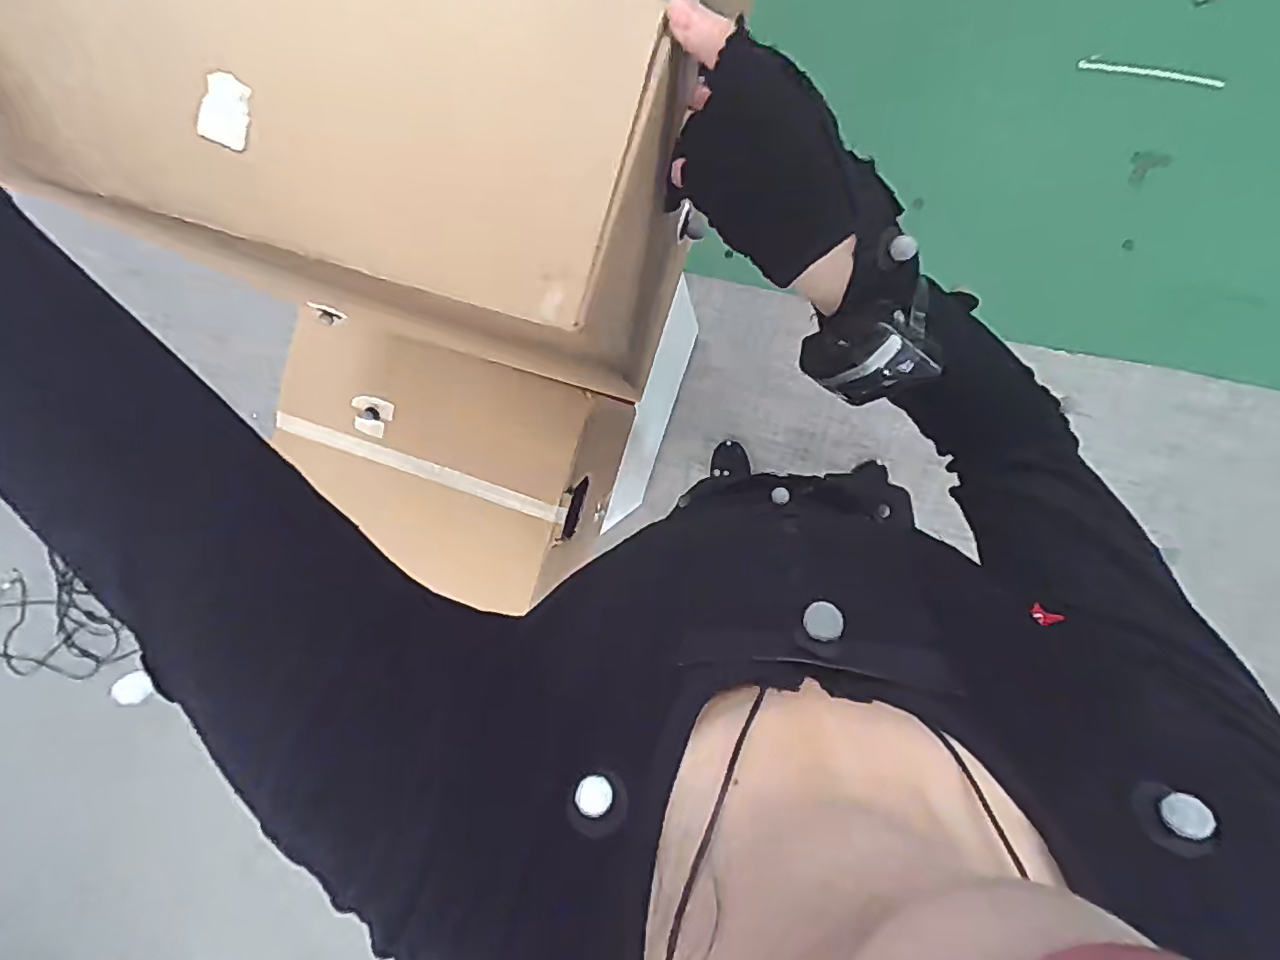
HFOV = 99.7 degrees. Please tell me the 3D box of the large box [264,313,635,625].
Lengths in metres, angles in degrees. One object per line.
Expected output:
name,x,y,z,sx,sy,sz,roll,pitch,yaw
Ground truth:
large box,-0.258,-0.028,0.833,0.408,0.320,0.320,18,96,9
